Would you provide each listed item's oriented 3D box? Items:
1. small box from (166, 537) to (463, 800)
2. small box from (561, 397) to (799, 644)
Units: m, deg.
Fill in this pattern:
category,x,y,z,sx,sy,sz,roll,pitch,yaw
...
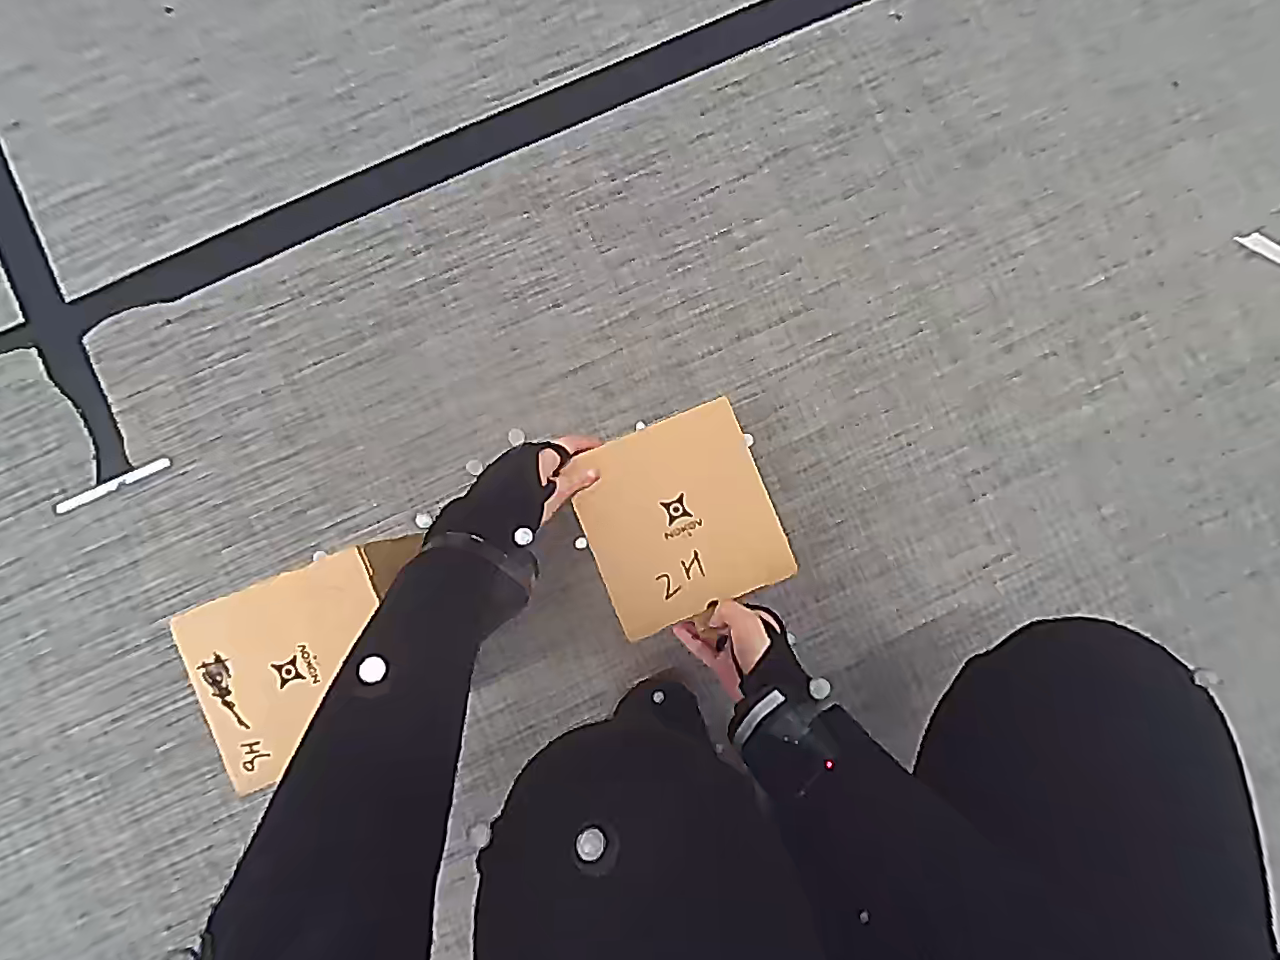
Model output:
category,x,y,z,sx,sy,sz,roll,pitch,yaw
small box,-0.293,0.164,0.537,0.179,0.176,0.168,-22,90,-4
small box,0.031,0.037,0.551,0.168,0.176,0.179,-22,90,-2
